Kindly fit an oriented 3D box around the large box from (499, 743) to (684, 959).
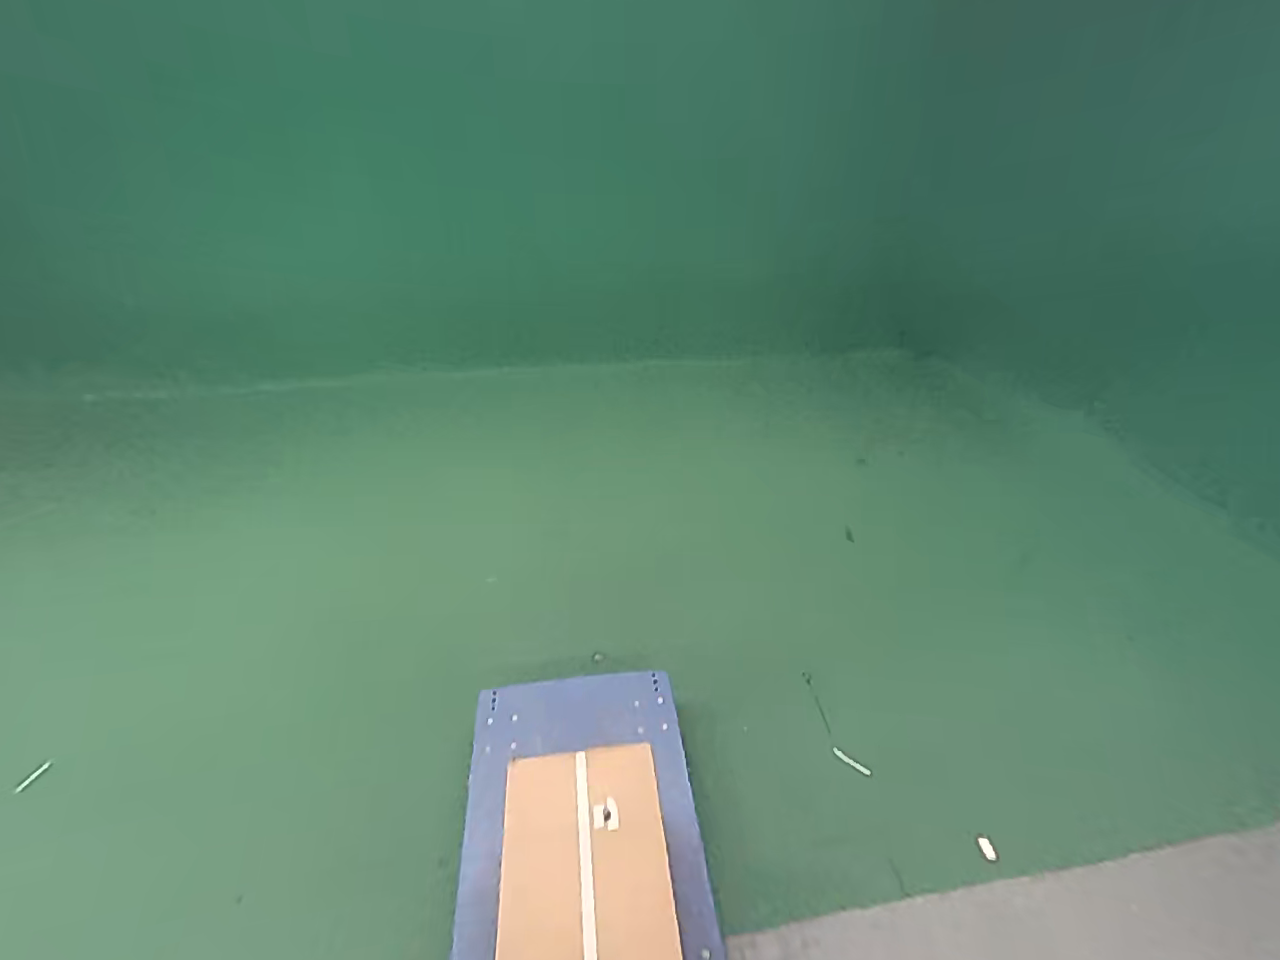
[{"bbox_3d":[-0.104,0.836,1.123,0.320,0.320,0.408,-4,38,-6],"label":"large box"}]
